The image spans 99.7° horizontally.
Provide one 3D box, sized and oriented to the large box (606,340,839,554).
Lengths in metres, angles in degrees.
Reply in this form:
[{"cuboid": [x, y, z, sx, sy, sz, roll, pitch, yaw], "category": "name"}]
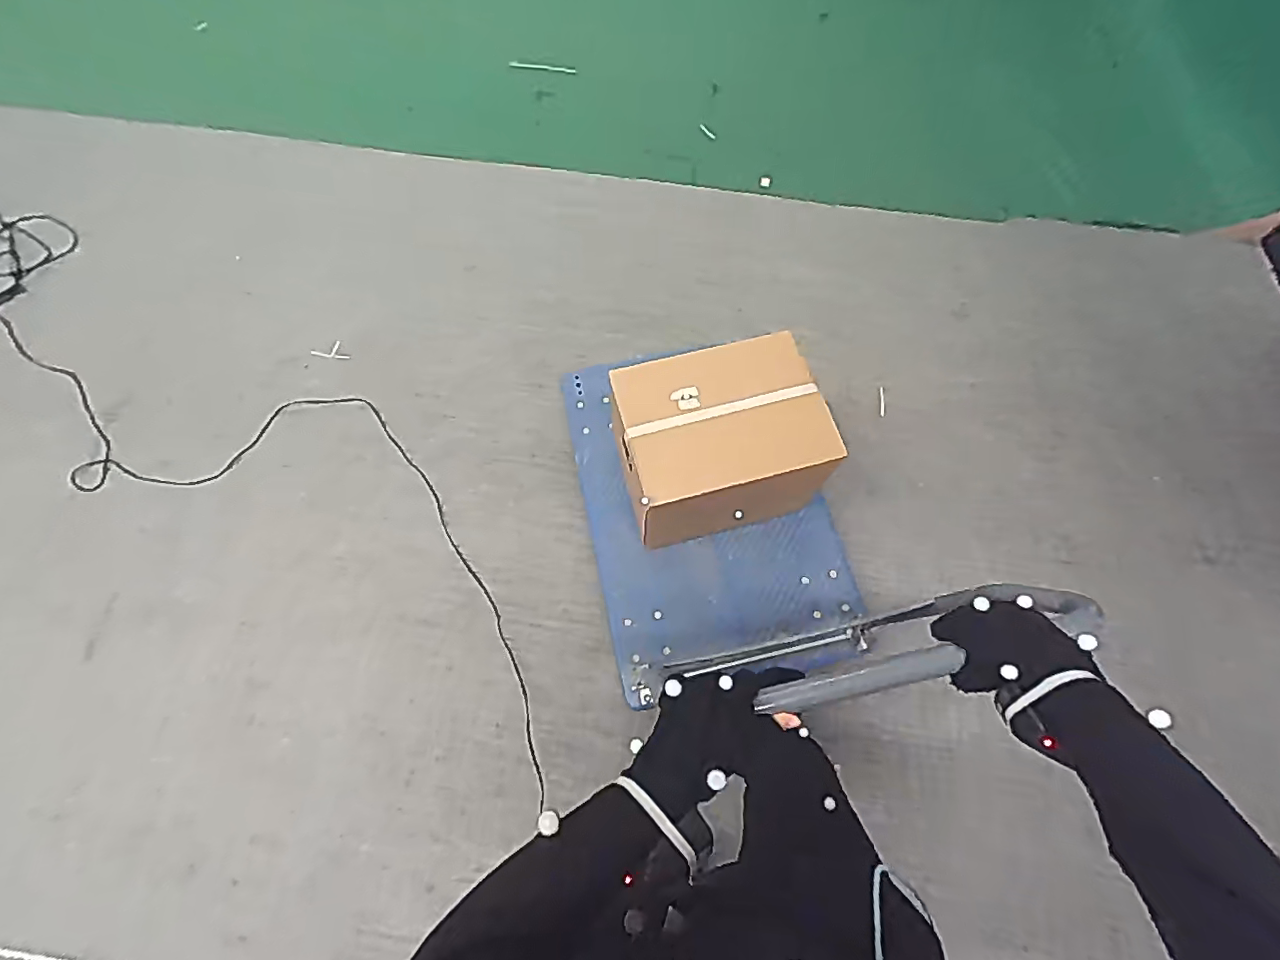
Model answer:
[{"cuboid": [0.161, -0.062, 1.227, 0.408, 0.320, 0.320, -15, 67, -6], "category": "large box"}]
